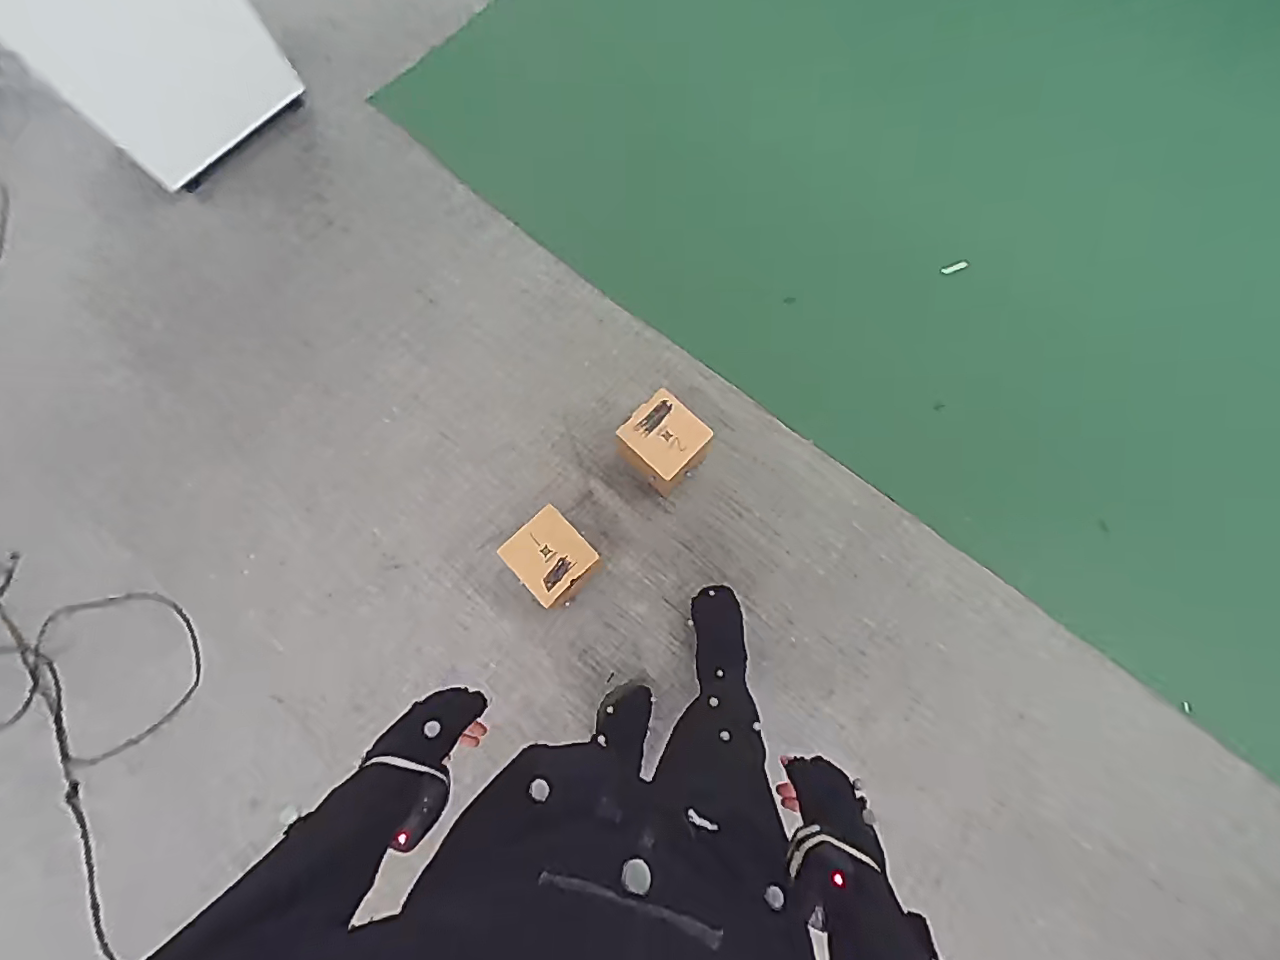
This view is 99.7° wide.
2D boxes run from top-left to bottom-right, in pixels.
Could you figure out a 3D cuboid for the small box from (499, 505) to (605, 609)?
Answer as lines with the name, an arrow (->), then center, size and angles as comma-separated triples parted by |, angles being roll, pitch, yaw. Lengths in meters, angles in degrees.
small box -> -0.199, 0.187, 1.282 | 0.168, 0.176, 0.179 | -42, 78, -10
